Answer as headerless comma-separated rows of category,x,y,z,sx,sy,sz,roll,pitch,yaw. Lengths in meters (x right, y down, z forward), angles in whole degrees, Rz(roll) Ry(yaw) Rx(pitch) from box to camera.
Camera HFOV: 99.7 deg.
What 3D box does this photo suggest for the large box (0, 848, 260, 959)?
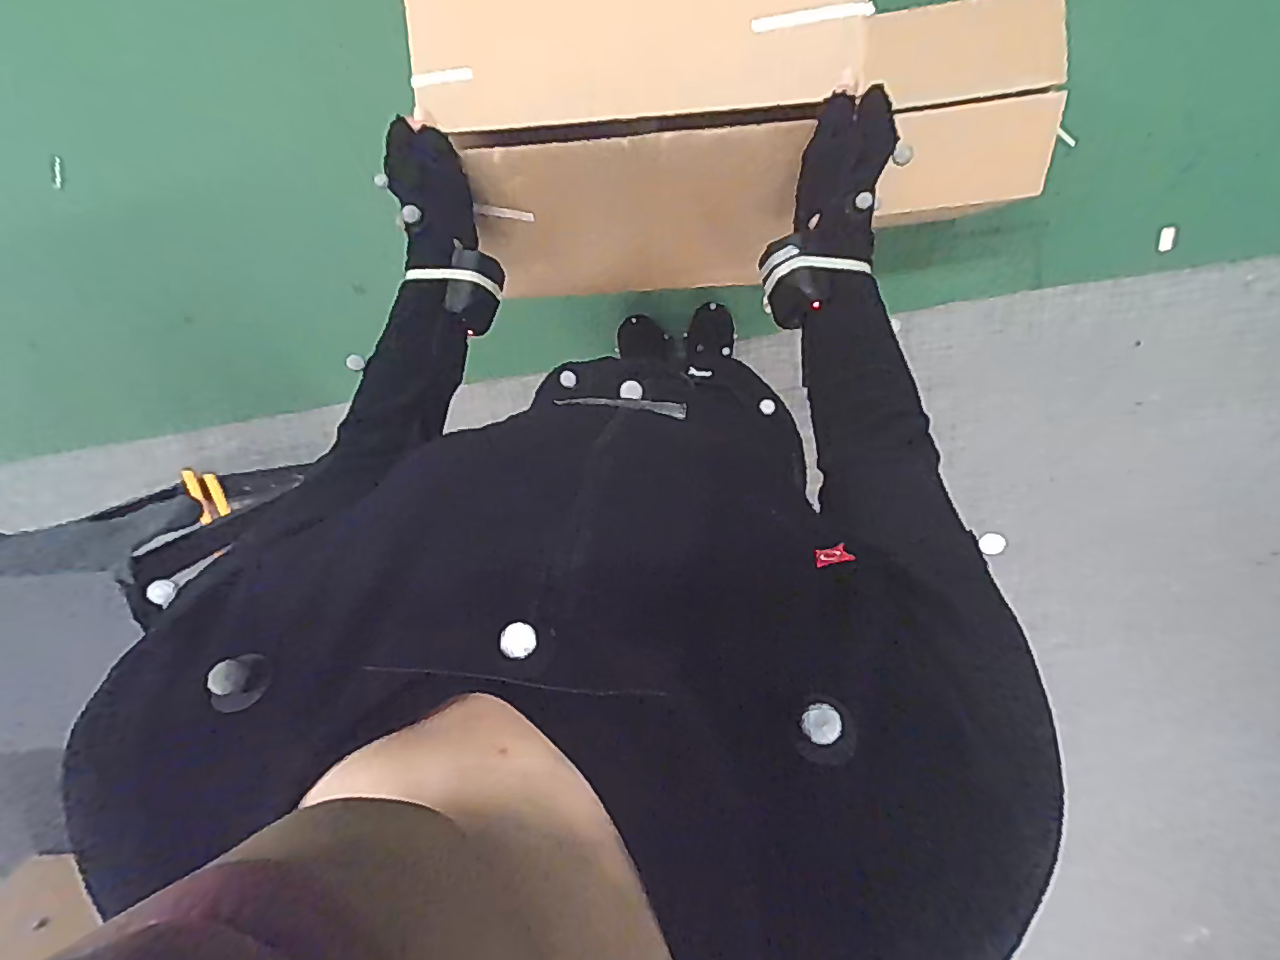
large box,-1.015,0.924,0.964,0.408,0.320,0.320,-8,108,6
